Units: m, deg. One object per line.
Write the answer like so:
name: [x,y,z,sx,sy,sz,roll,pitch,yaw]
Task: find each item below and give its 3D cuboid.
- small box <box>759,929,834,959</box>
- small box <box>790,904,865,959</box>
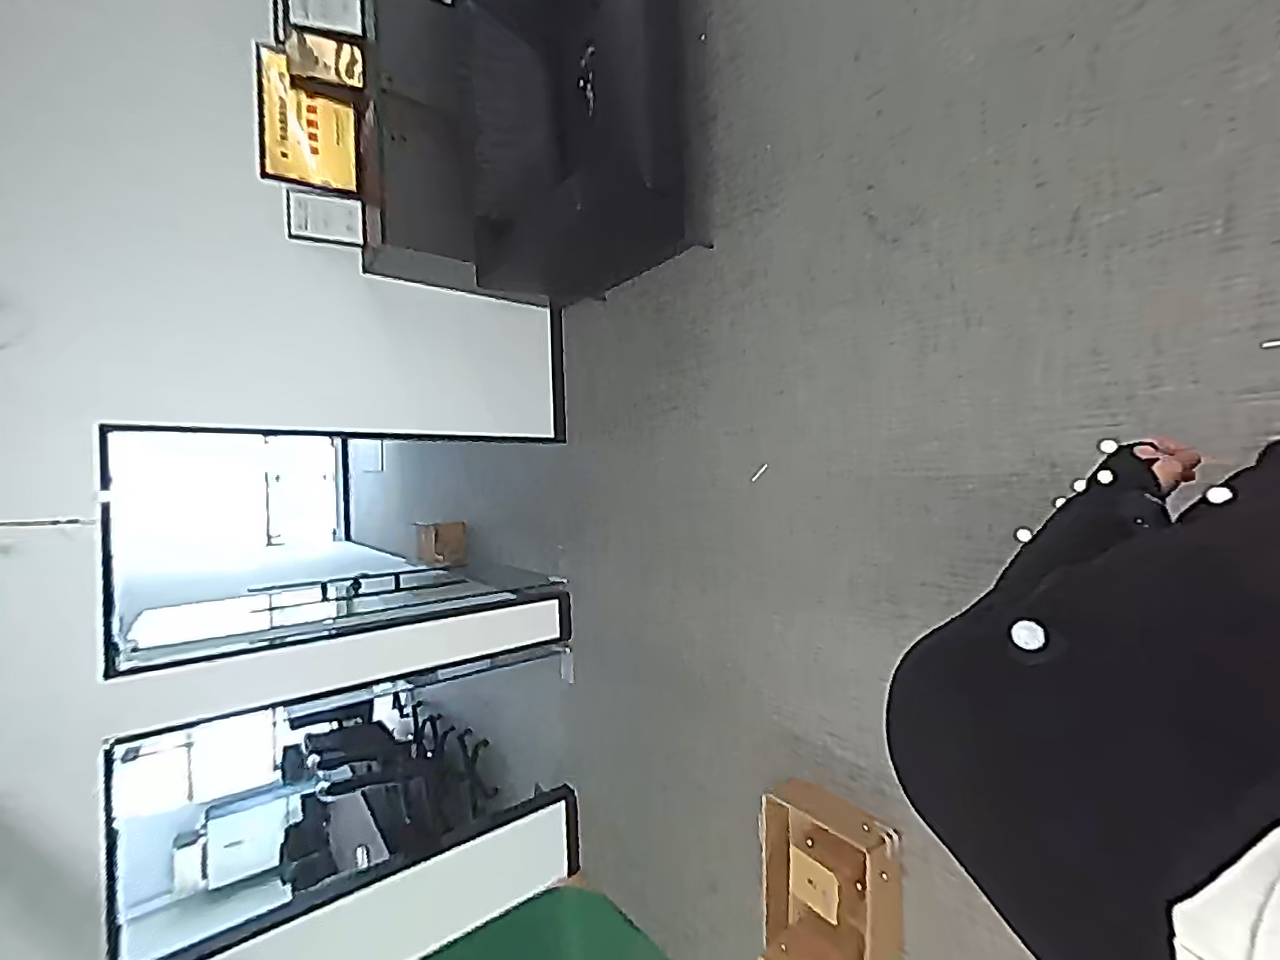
small box: [0.489,1.556,1.680,0.179,0.176,0.168,3,94,51]
small box: [0.615,1.553,1.784,0.179,0.176,0.168,4,94,52]
